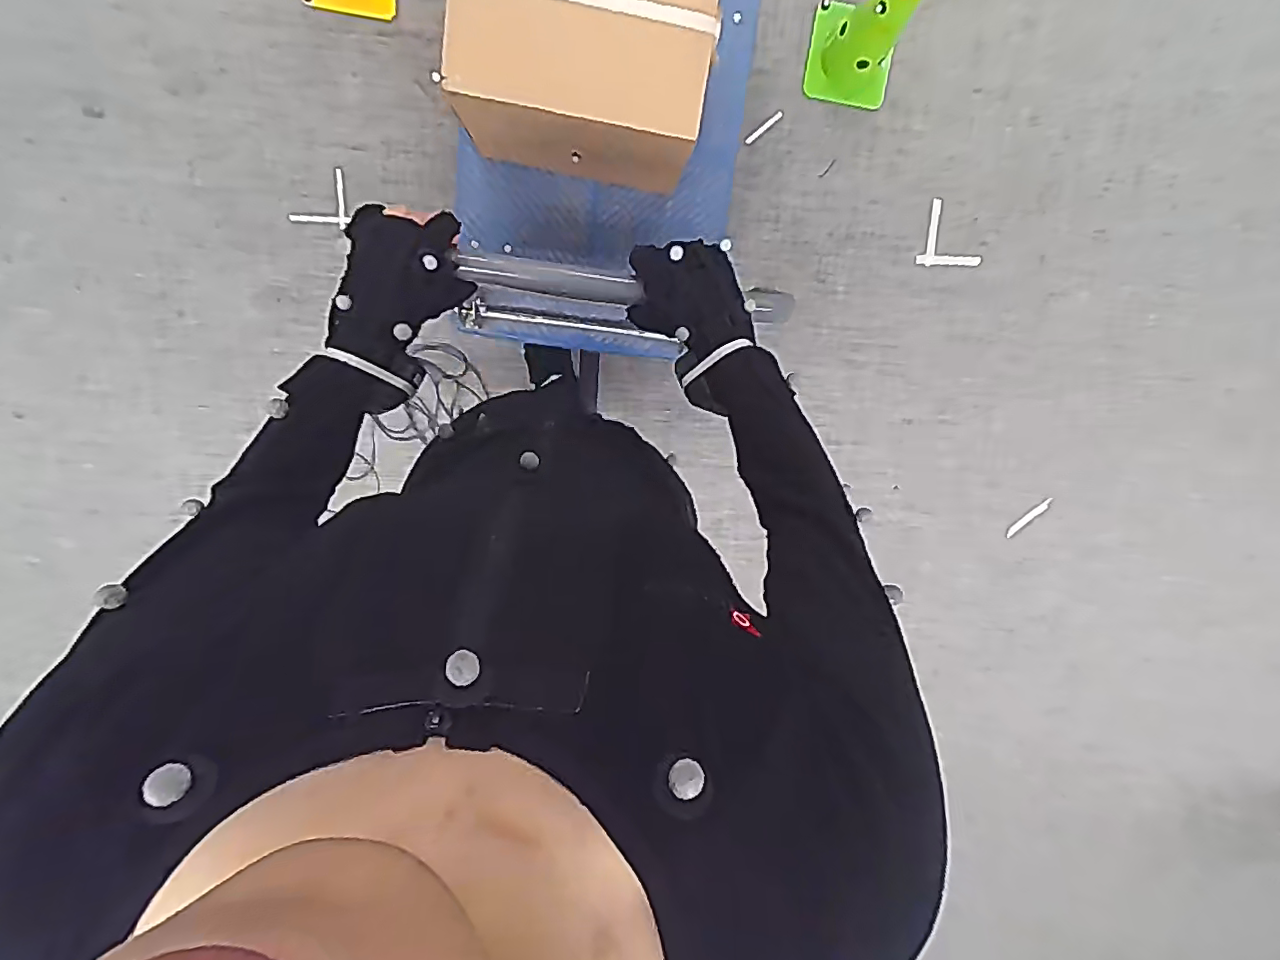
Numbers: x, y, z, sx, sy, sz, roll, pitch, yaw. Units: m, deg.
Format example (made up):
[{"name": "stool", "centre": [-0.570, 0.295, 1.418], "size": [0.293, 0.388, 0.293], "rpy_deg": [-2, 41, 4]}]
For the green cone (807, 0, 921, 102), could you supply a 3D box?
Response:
[{"name": "green cone", "centre": [0.516, -0.970, 1.099], "size": [0.202, 0.368, 0.200], "rpy_deg": [6, 103, -7]}]

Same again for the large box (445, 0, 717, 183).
[{"name": "large box", "centre": [-0.090, -0.760, 0.957], "size": [0.408, 0.320, 0.320], "rpy_deg": [8, 103, -5]}]
